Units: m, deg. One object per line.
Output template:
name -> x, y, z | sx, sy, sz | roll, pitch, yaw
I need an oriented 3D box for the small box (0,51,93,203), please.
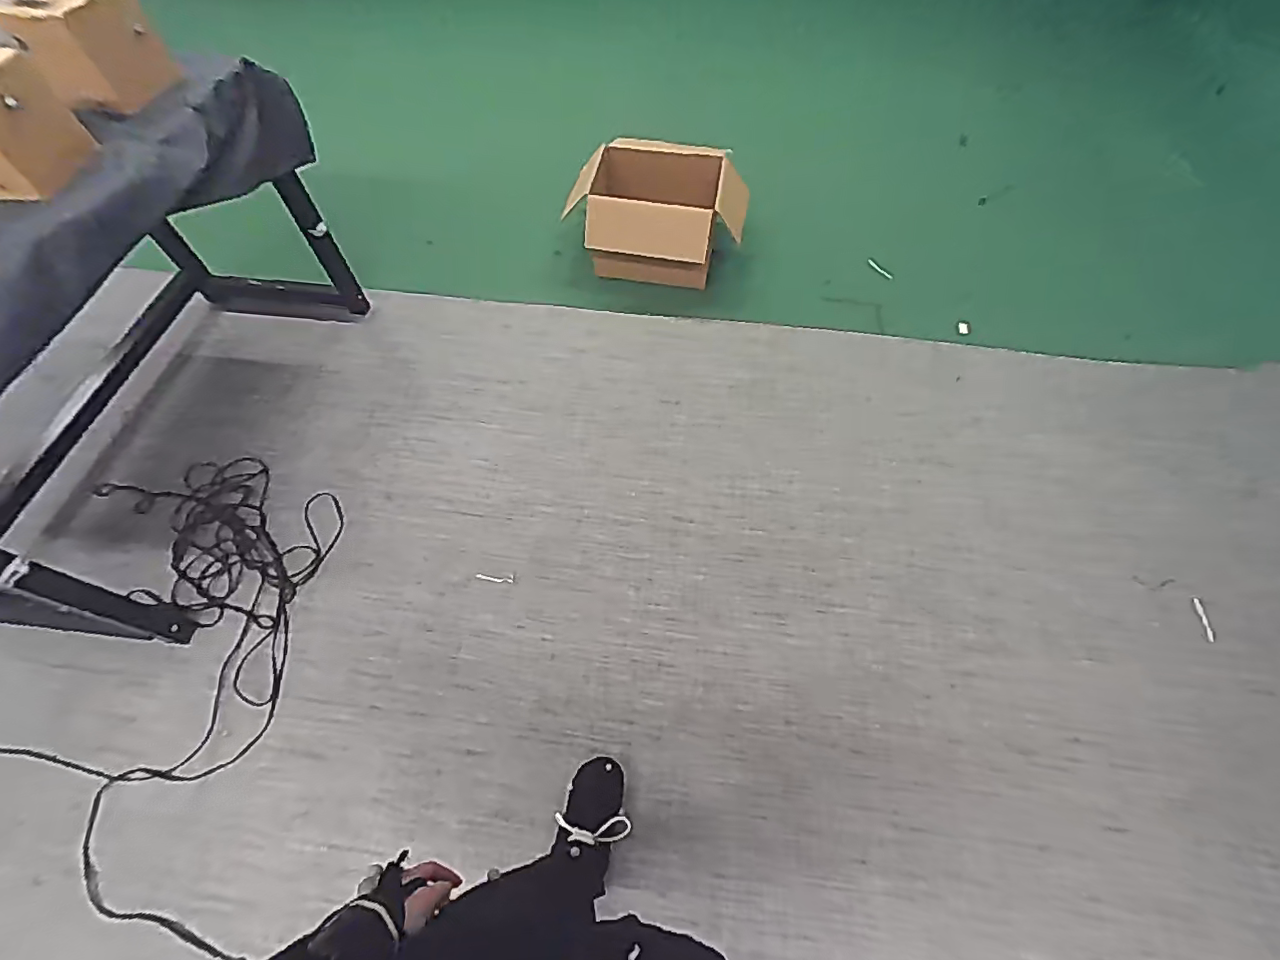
small box -> -1.142, -0.622, 0.952 | 0.168, 0.176, 0.179 | 4, 60, 2
